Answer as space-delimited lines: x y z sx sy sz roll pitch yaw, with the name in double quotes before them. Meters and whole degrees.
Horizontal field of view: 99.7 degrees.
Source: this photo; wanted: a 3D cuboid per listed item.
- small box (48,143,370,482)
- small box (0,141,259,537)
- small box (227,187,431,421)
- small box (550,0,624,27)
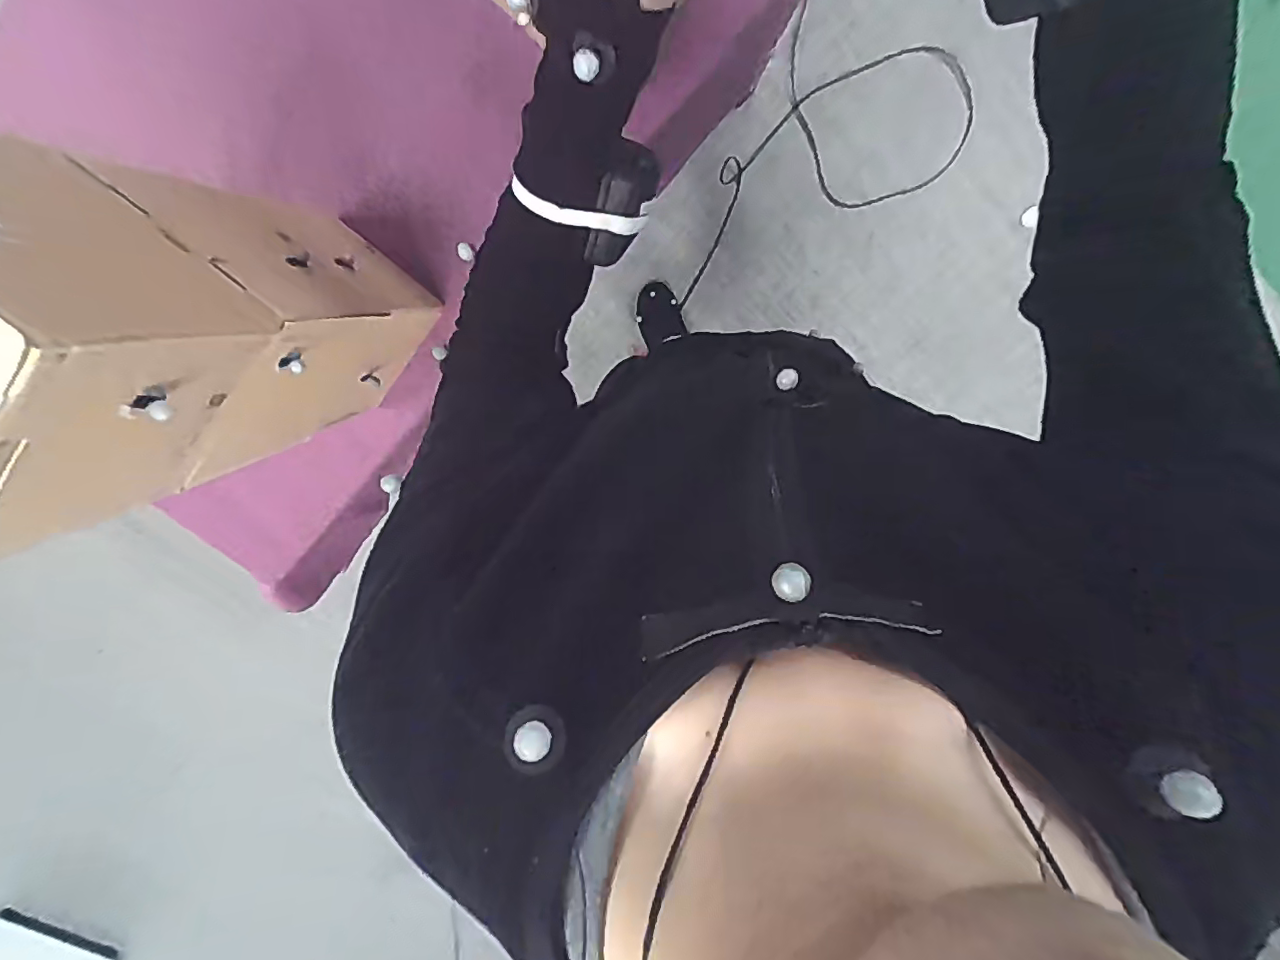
"small box" -0.372 -0.131 0.462 0.168 0.176 0.179 40 104 -11
"small box" -0.376 -0.084 0.306 0.179 0.176 0.168 42 103 -11
"small box" -0.371 -0.188 0.615 0.168 0.176 0.179 39 105 -12
"small box" -0.056 -0.454 0.343 0.179 0.176 0.168 38 106 -10
